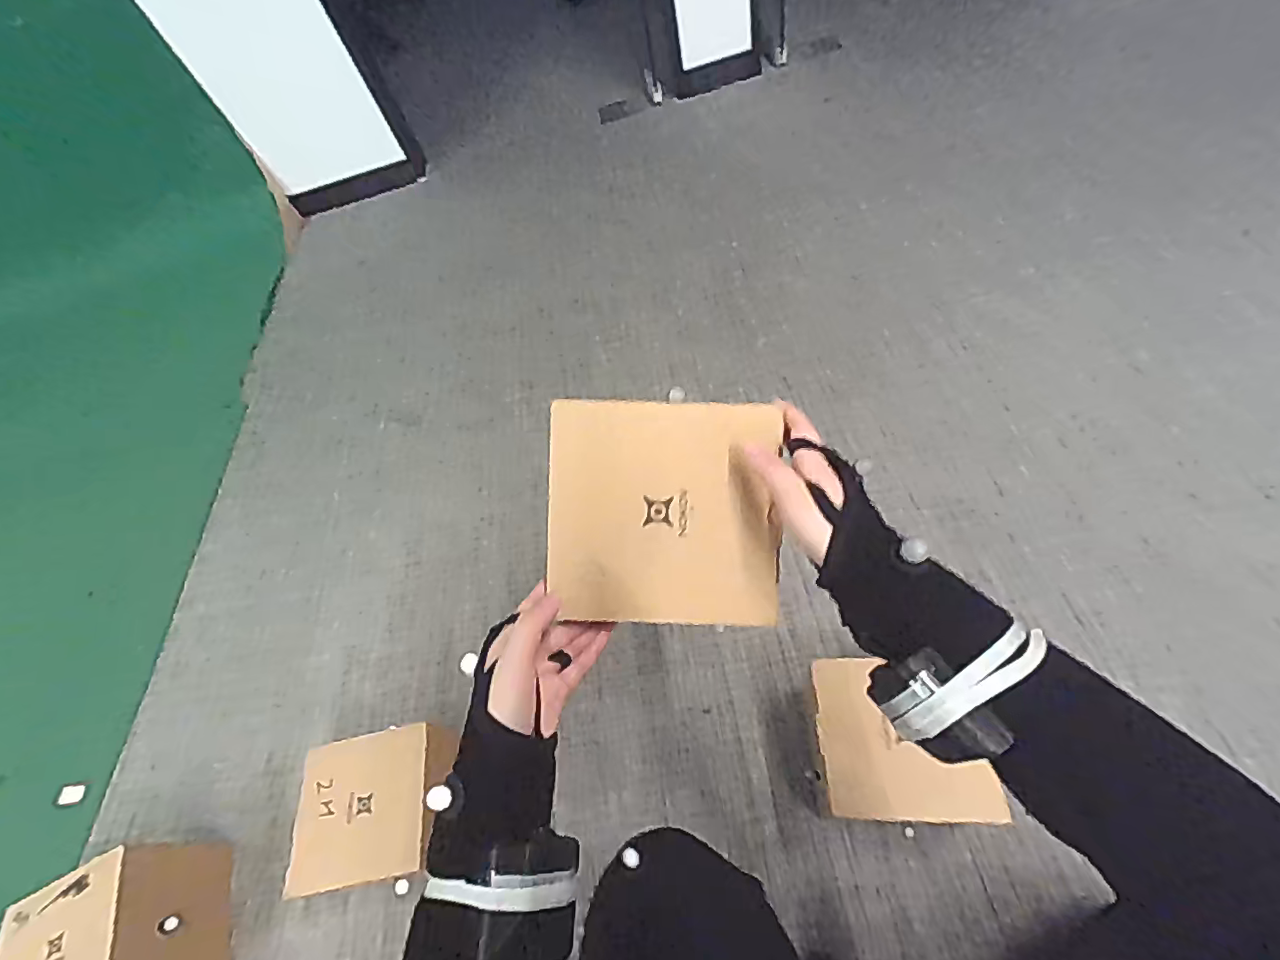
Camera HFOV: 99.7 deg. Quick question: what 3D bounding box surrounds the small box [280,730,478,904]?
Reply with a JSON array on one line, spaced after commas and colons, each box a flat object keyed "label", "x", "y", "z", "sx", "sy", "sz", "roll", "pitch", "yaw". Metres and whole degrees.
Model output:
[{"label": "small box", "x": -0.335, "y": 0.455, "z": 0.737, "sx": 0.179, "sy": 0.176, "sz": 0.168, "roll": -15, "pitch": 54, "yaw": 5}]

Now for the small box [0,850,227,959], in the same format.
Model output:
[{"label": "small box", "x": -0.694, "y": 0.626, "z": 0.720, "sx": 0.168, "sy": 0.176, "sz": 0.179, "roll": -28, "pitch": 55, "yaw": -4}]

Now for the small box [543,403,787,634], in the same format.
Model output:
[{"label": "small box", "x": 0.020, "y": 0.029, "z": 0.478, "sx": 0.179, "sy": 0.176, "sz": 0.168, "roll": 2, "pitch": 89, "yaw": 0}]
